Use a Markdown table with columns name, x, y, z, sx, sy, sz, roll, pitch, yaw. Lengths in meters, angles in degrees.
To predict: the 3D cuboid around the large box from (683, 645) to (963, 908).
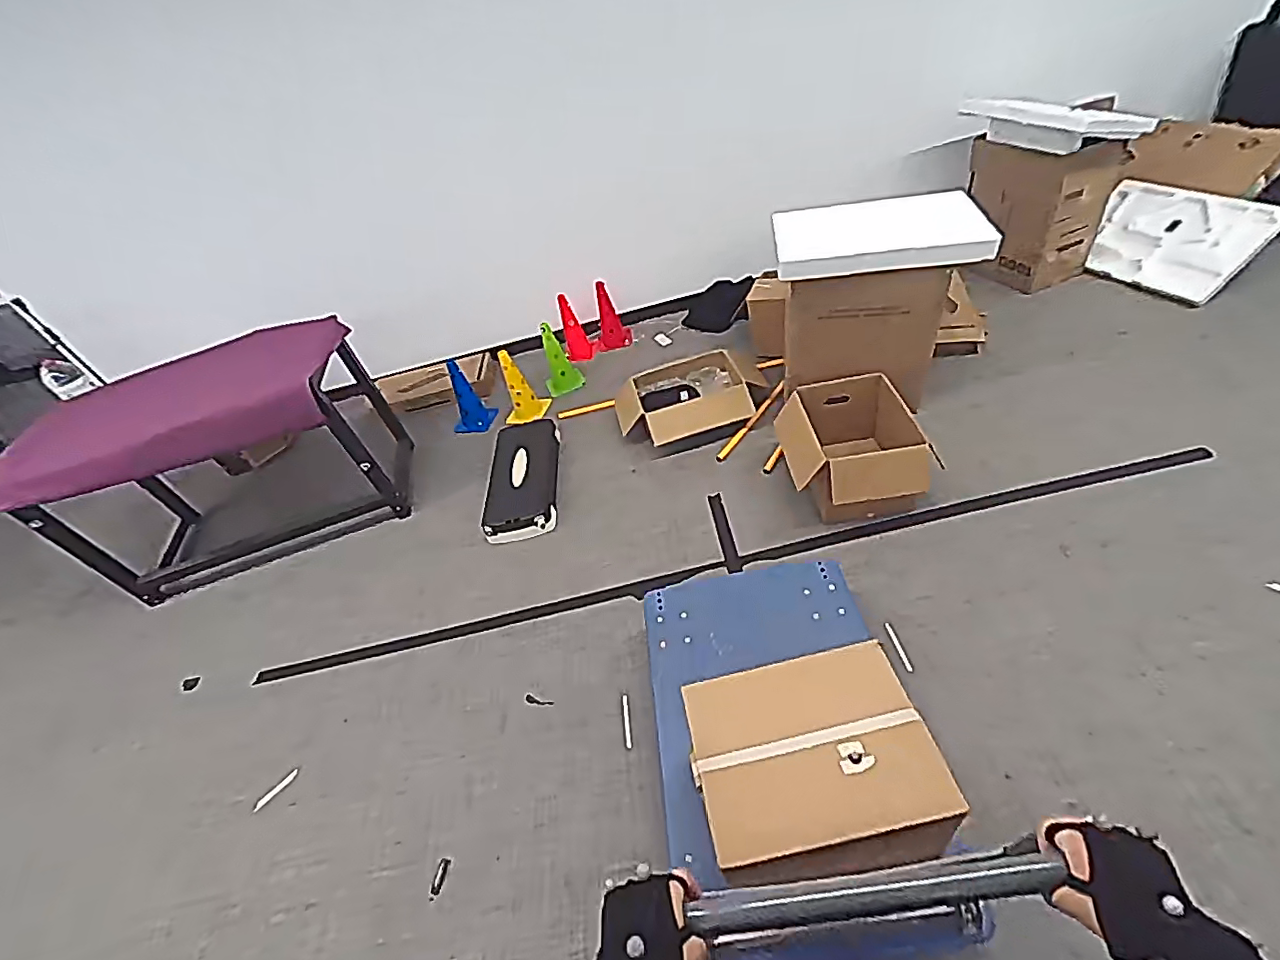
| name | x | y | z | sx | sy | sz | roll | pitch | yaw |
| --- | --- | --- | --- | --- | --- | --- | --- | --- | --- |
| large box | 0.327 | 0.583 | 1.066 | 0.408 | 0.320 | 0.320 | -14 | 42 | 1 |
